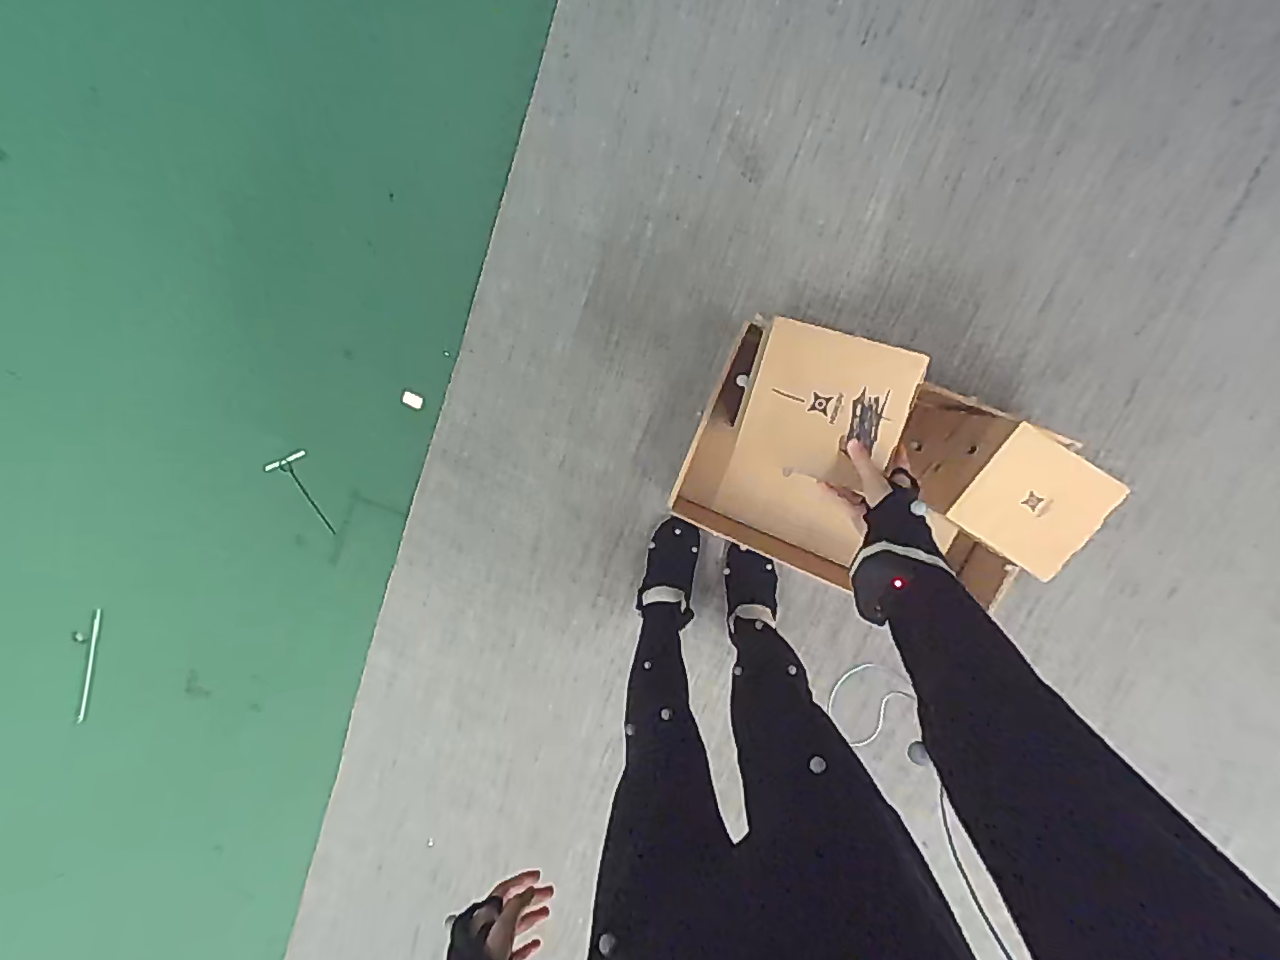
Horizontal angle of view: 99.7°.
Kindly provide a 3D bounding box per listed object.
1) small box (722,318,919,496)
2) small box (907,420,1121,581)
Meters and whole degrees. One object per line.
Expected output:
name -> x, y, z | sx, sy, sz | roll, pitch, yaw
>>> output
small box -> 0.214, -0.095, 0.690 | 0.179, 0.176, 0.168 | 18, 101, 7
small box -> 0.550, 0.020, 0.829 | 0.179, 0.176, 0.168 | 34, 104, 2
